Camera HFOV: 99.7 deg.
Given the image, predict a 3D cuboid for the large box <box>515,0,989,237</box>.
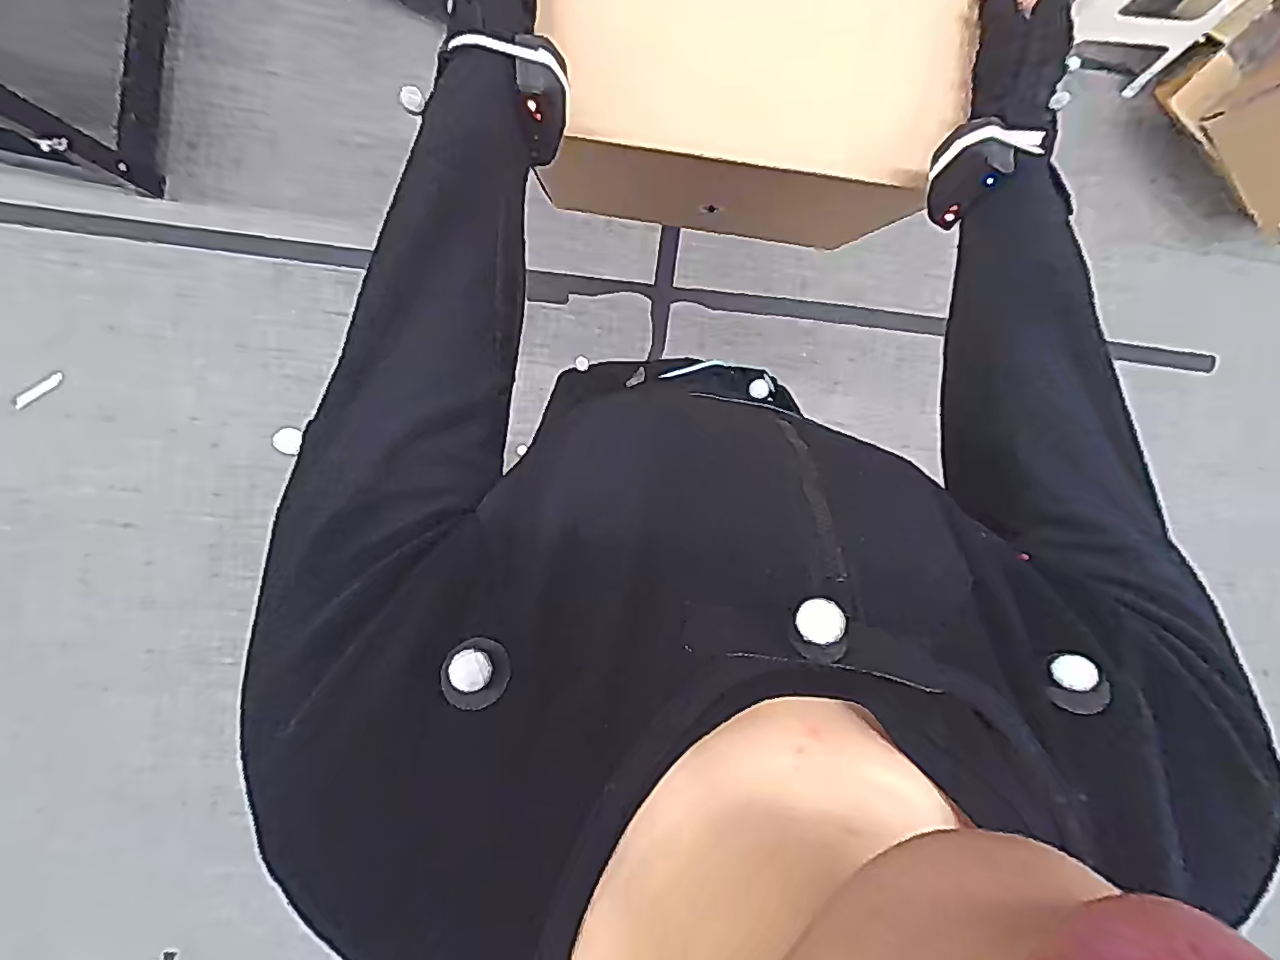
[{"bbox_3d":[0.102,-0.474,0.592,0.408,0.320,0.320,7,104,-3],"label":"large box"}]
